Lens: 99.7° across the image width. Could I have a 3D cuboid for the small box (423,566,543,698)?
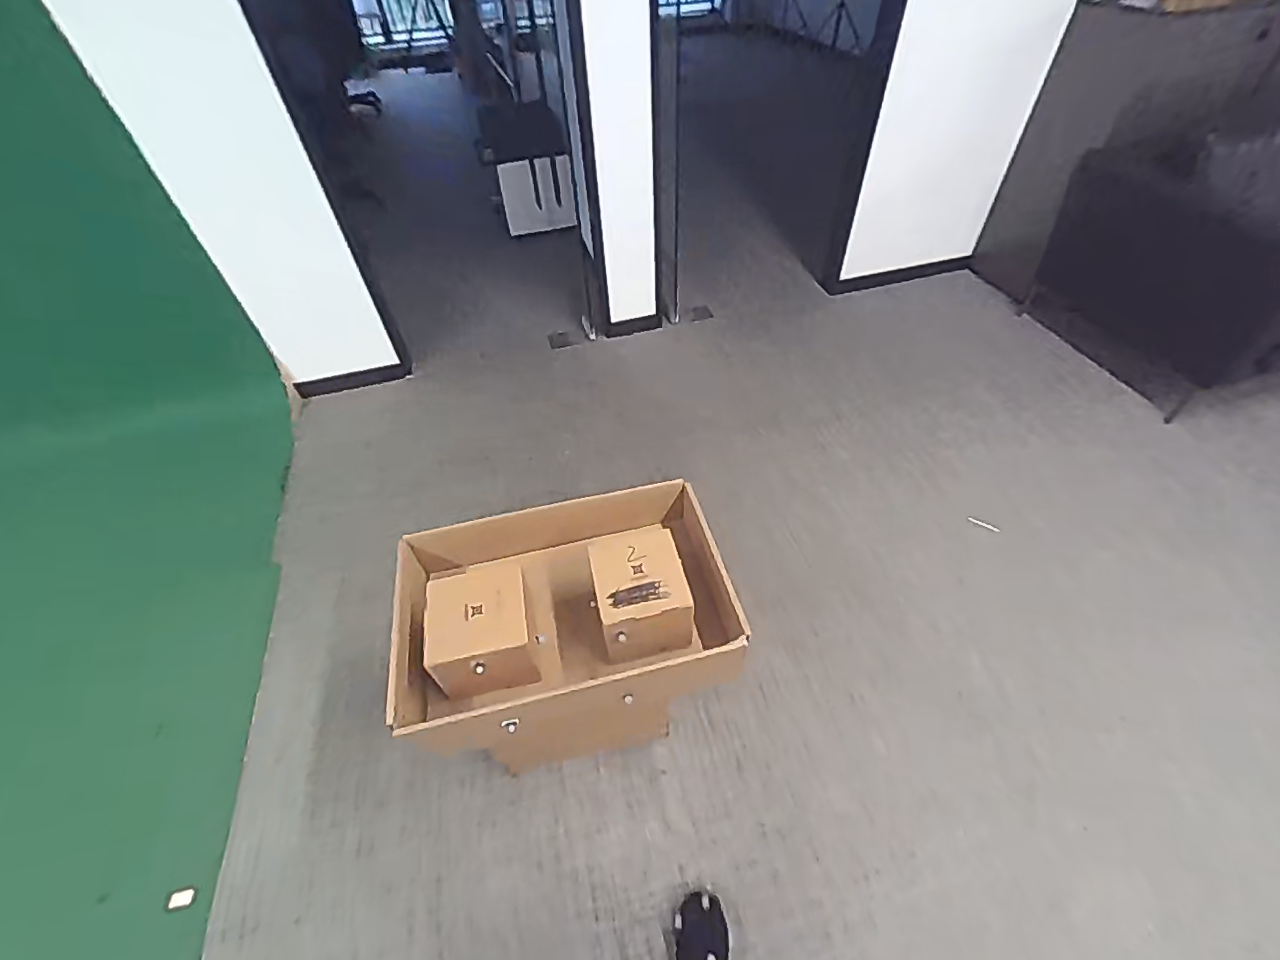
[{"bbox_3d":[-0.287,0.288,1.011,0.179,0.176,0.168,-9,49,-7],"label":"small box"}]
